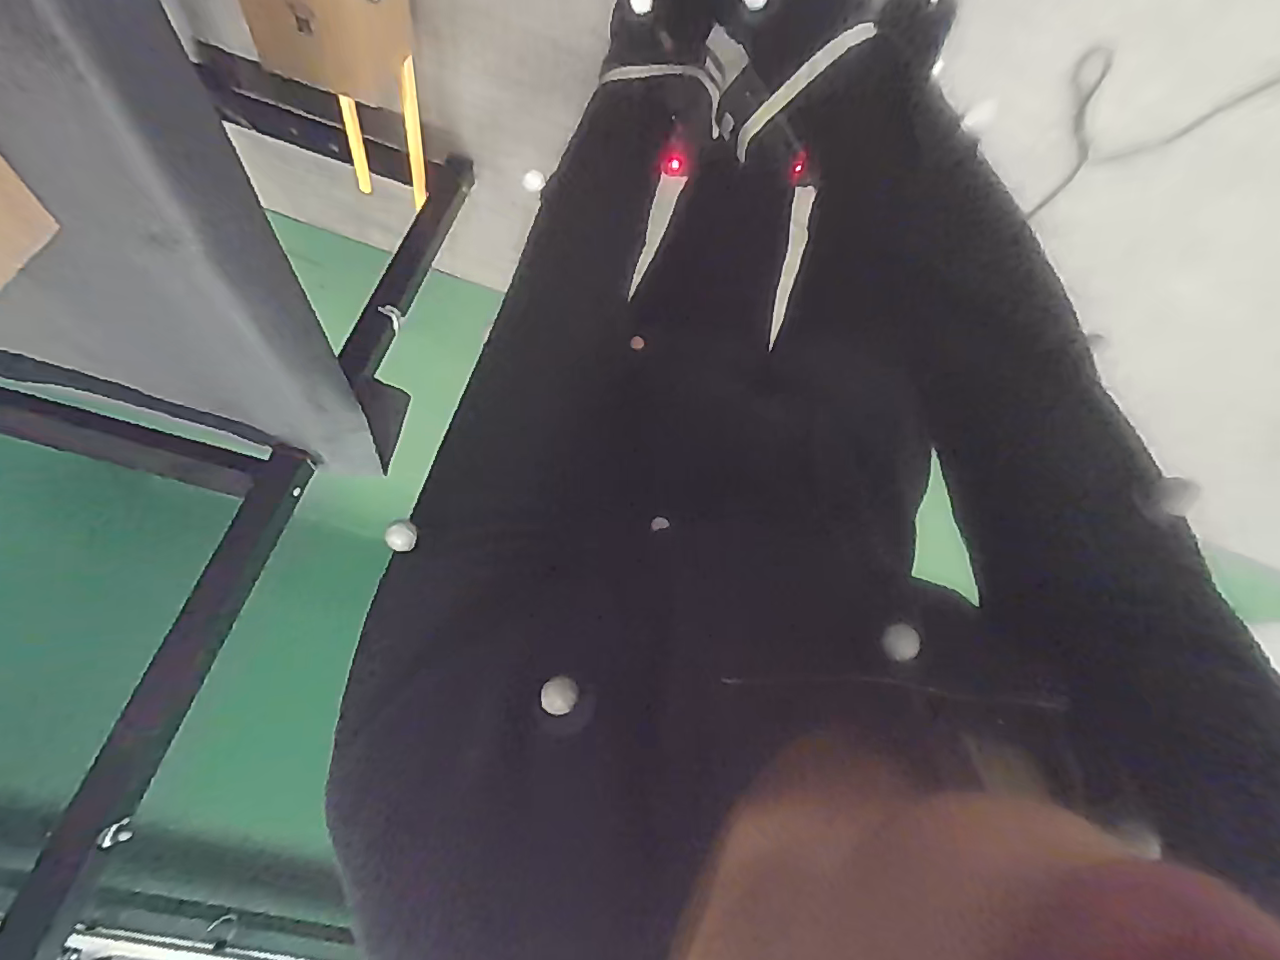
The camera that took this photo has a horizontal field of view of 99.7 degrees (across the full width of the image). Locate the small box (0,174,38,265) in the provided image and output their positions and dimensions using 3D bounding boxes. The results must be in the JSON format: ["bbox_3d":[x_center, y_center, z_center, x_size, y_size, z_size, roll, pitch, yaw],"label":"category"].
[{"bbox_3d":[-0.583,-0.208,0.352,0.168,0.176,0.179,18,153,-11],"label":"small box"}]
